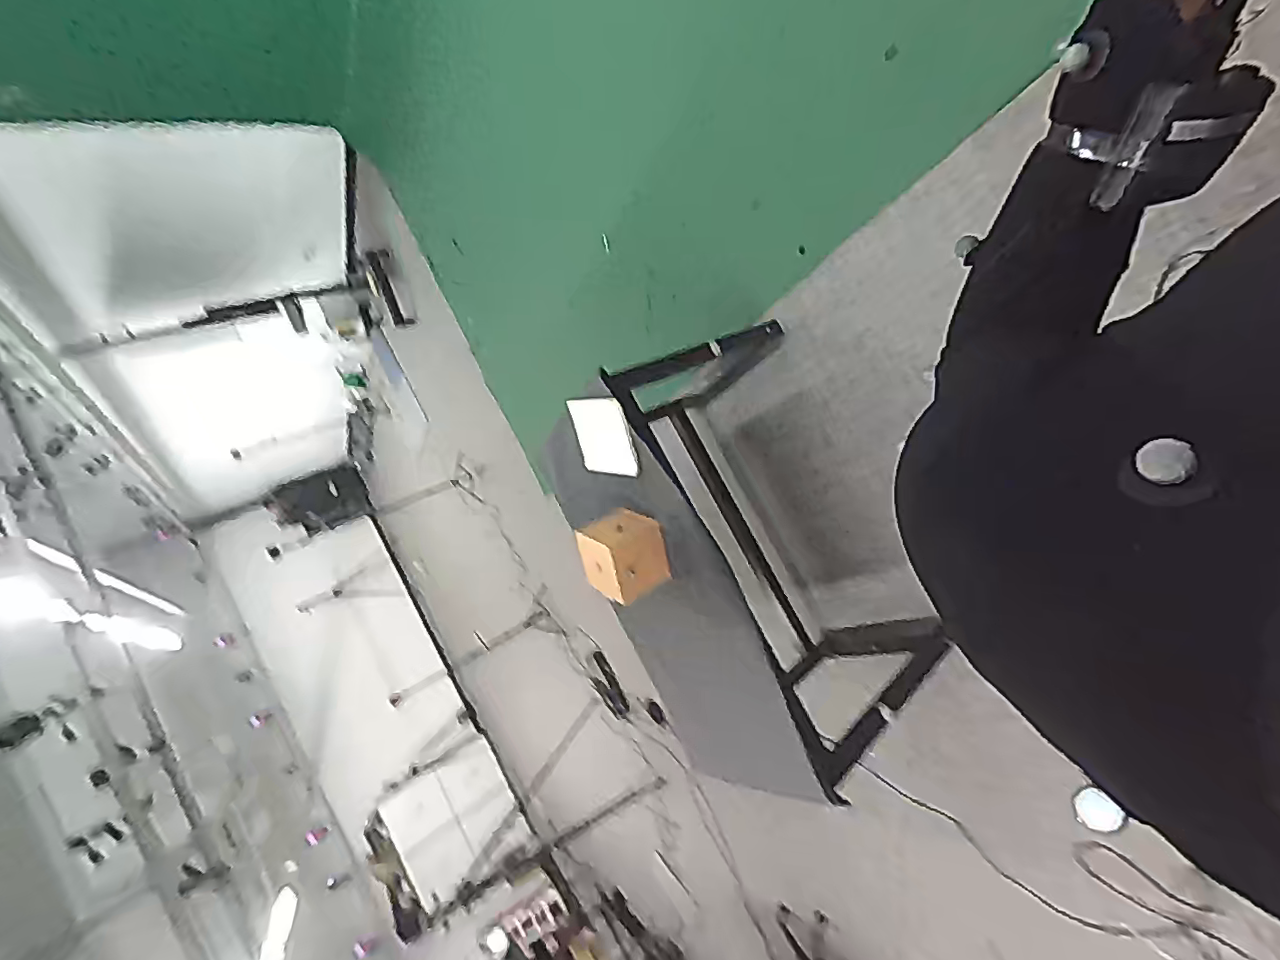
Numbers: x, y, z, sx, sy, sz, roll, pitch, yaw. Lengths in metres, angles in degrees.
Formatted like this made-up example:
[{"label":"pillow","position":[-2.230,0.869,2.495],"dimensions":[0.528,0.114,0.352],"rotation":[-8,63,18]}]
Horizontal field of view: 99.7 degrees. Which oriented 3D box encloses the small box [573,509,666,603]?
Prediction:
[{"label":"small box","position":[-0.052,0.195,1.456],"dimensions":[0.168,0.176,0.179],"rotation":[14,123,50]}]
